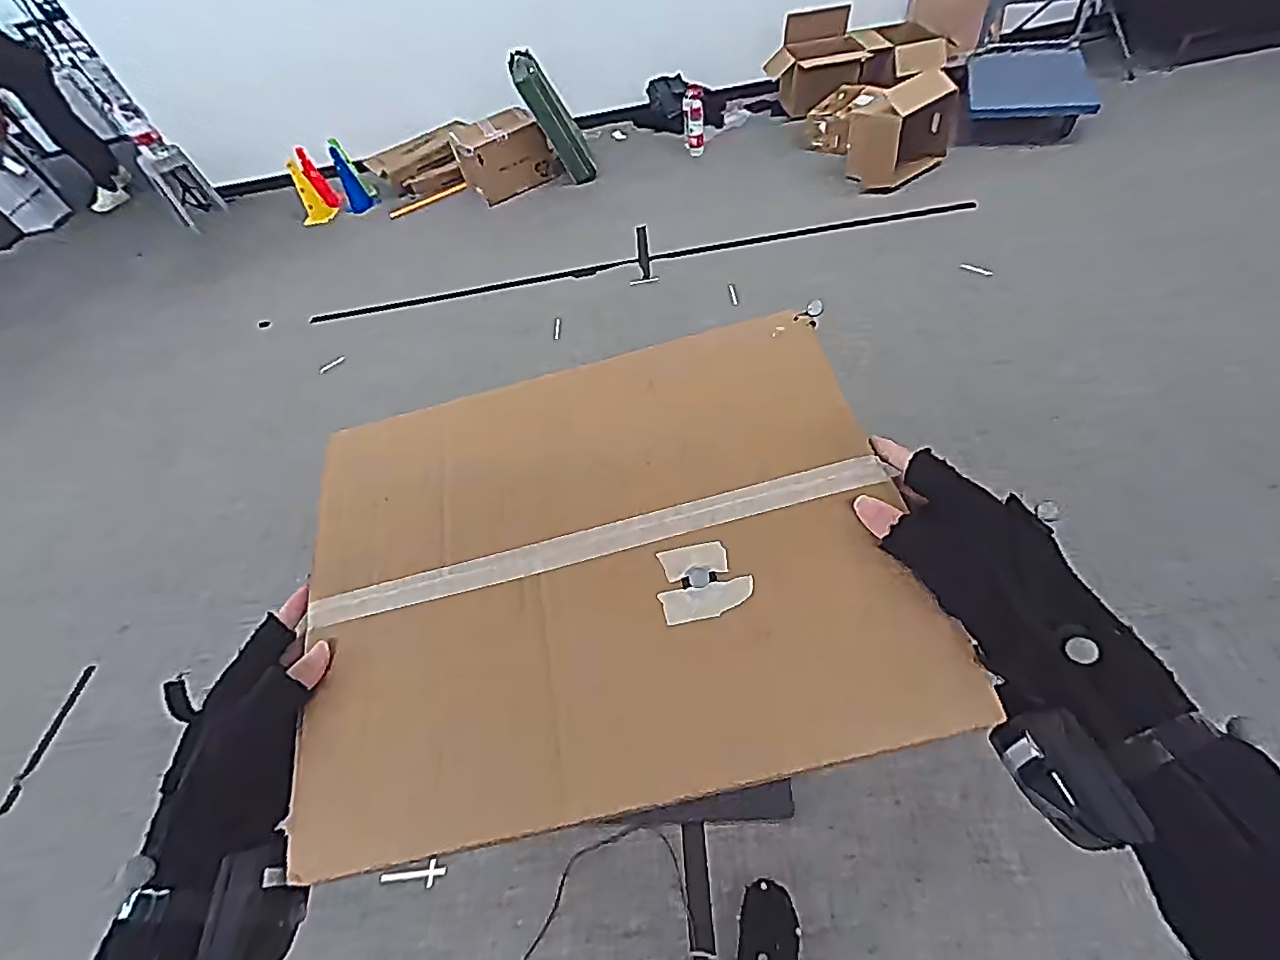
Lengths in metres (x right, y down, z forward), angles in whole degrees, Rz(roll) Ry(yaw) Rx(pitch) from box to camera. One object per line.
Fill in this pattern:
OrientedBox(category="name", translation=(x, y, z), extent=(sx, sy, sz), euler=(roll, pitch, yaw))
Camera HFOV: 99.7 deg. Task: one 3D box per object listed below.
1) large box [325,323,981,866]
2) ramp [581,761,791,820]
OrientedBox(category="large box", translation=(-0.005, 0.117, 0.513), extent=(0.408, 0.320, 0.320), euler=(-14, 62, 2))
OrientedBox(category="ramp", translation=(0.085, 0.325, 1.460), extent=(0.509, 0.206, 0.991), euler=(-6, 52, 5))
